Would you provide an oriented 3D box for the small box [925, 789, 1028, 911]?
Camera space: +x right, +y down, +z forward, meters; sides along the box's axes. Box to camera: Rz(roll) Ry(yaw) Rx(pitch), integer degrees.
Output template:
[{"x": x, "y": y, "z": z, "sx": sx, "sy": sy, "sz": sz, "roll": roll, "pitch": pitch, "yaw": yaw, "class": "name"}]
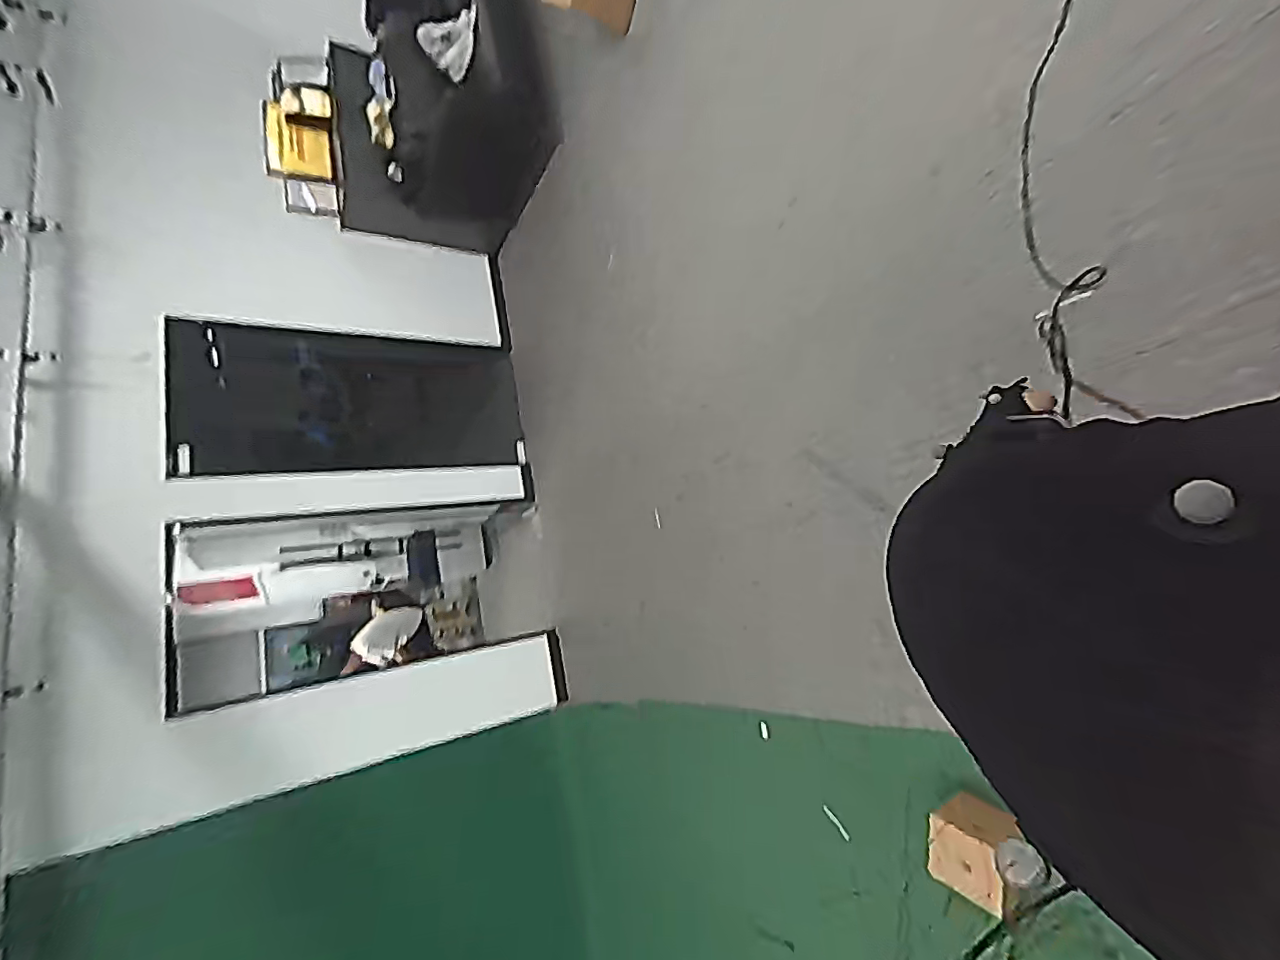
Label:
[{"x": 0.862, "y": 0.931, "z": 1.385, "sx": 0.179, "sy": 0.176, "sz": 0.168, "roll": 6, "pitch": 97, "yaw": 56, "class": "small box"}]
